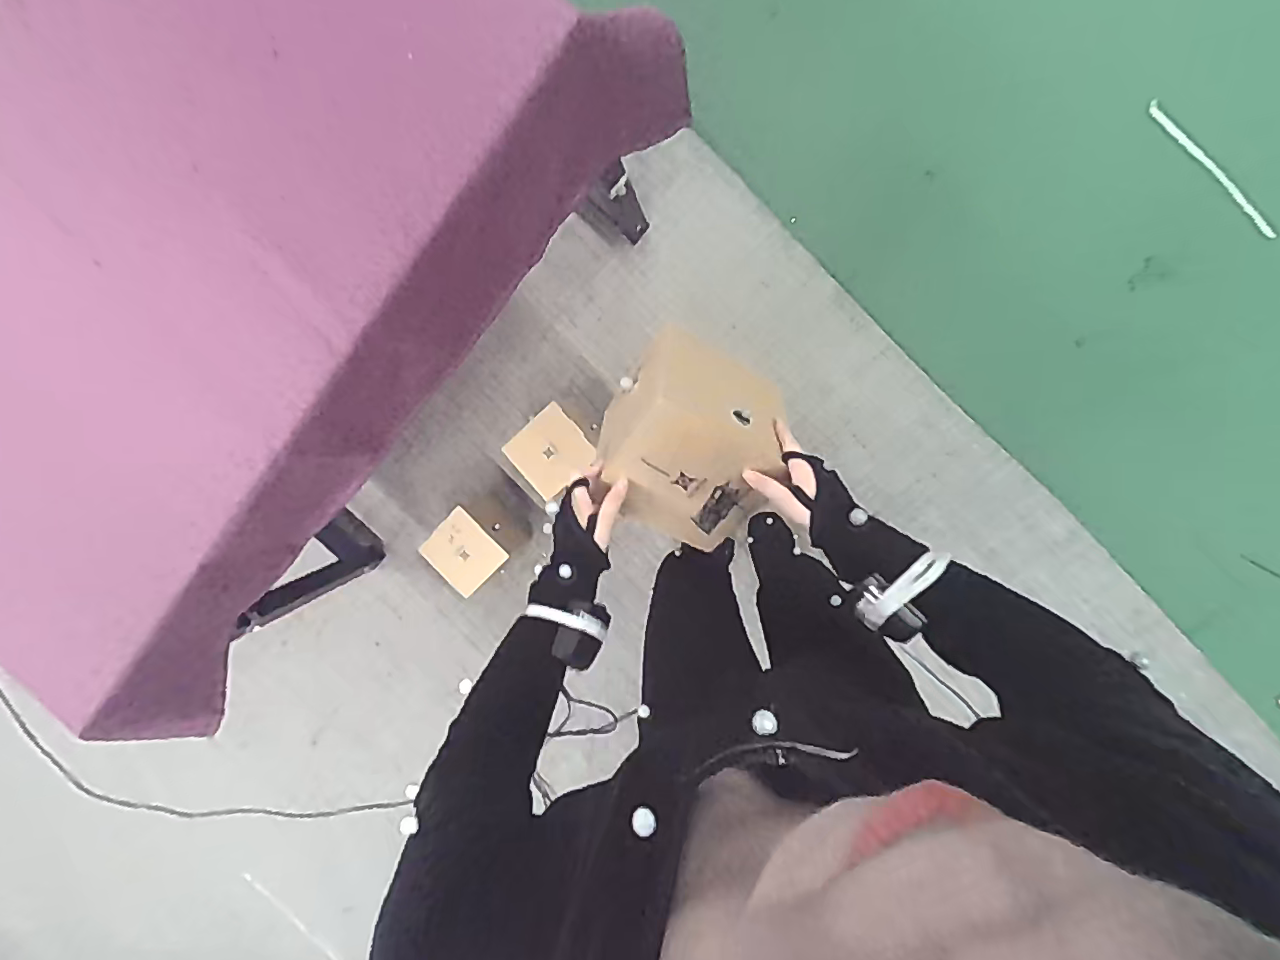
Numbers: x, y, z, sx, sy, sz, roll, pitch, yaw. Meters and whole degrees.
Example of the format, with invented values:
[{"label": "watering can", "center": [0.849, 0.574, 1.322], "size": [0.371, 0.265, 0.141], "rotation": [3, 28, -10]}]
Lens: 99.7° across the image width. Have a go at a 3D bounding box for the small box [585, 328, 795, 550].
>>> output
[{"label": "small box", "center": [0.058, -0.051, 0.649], "size": [0.179, 0.176, 0.168], "rotation": [26, 130, -16]}]
